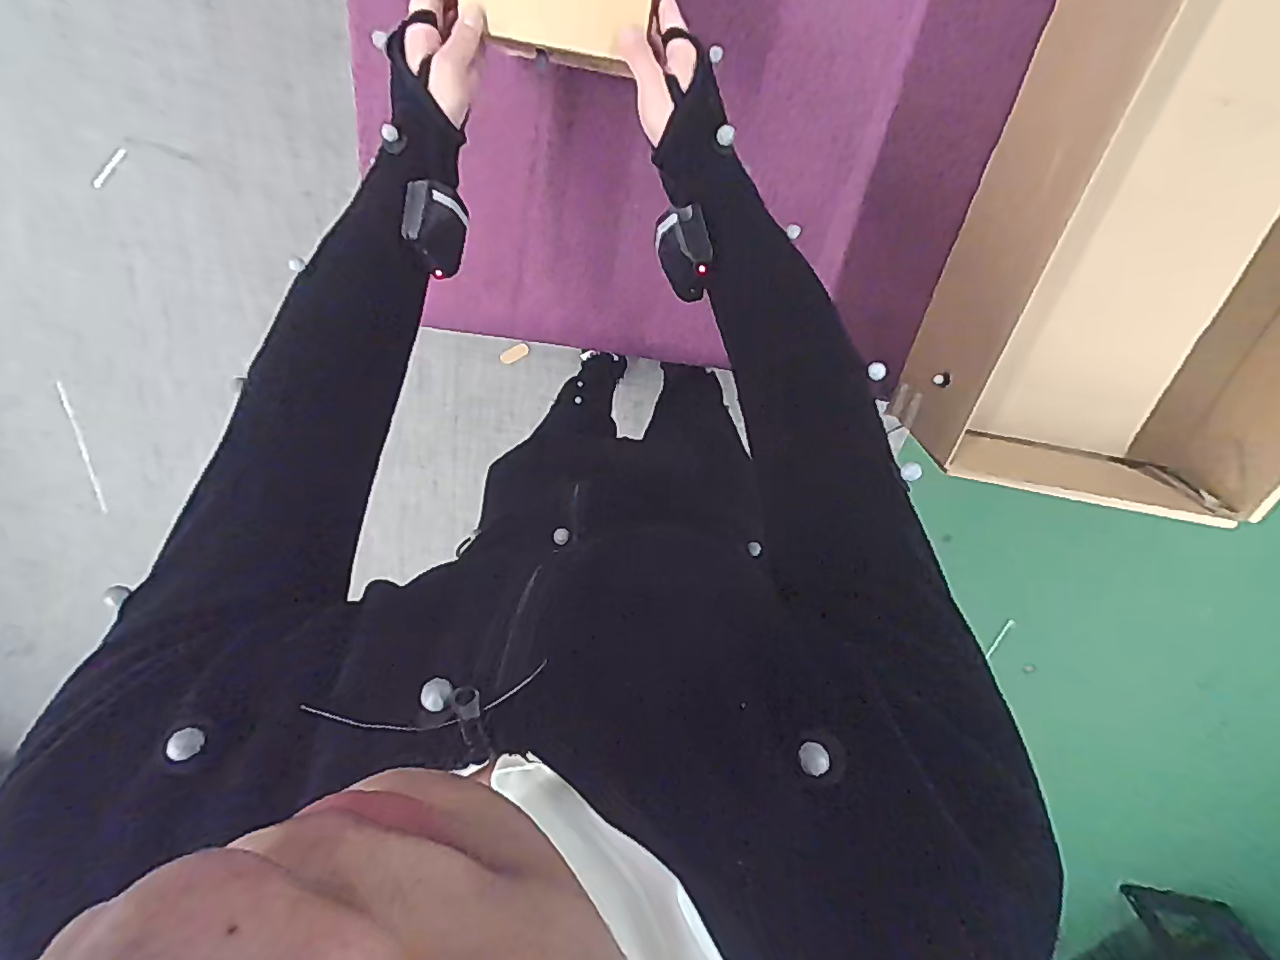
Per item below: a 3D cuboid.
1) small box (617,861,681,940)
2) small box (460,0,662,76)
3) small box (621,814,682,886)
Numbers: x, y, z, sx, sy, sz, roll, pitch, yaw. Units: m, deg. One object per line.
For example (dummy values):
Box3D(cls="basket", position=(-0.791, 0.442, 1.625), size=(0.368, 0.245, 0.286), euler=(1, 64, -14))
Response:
Box3D(cls="small box", position=(0.034, 1.431, 1.829), size=(0.168, 0.176, 0.179), euler=(-18, 115, 11))
Box3D(cls="small box", position=(-0.059, -0.497, 0.498), size=(0.168, 0.176, 0.179), euler=(9, 121, -3))
Box3D(cls="small box", position=(0.044, 1.361, 1.975), size=(0.179, 0.176, 0.168), euler=(-20, 115, 12))
